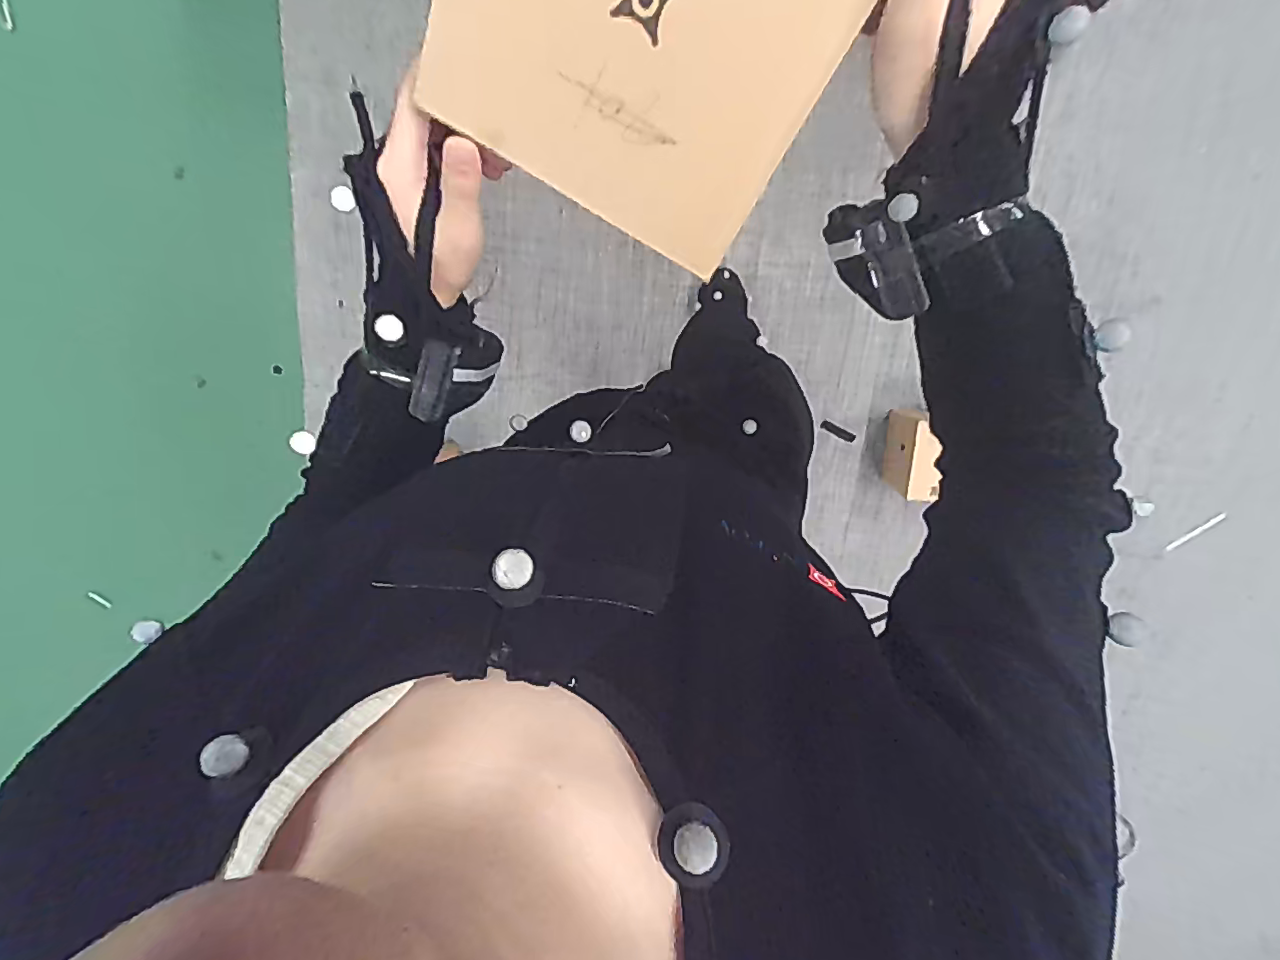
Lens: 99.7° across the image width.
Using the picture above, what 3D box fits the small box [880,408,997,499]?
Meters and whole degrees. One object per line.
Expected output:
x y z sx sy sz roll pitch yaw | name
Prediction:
0.656 -0.065 1.210 0.168 0.176 0.179 2 104 5 | small box
